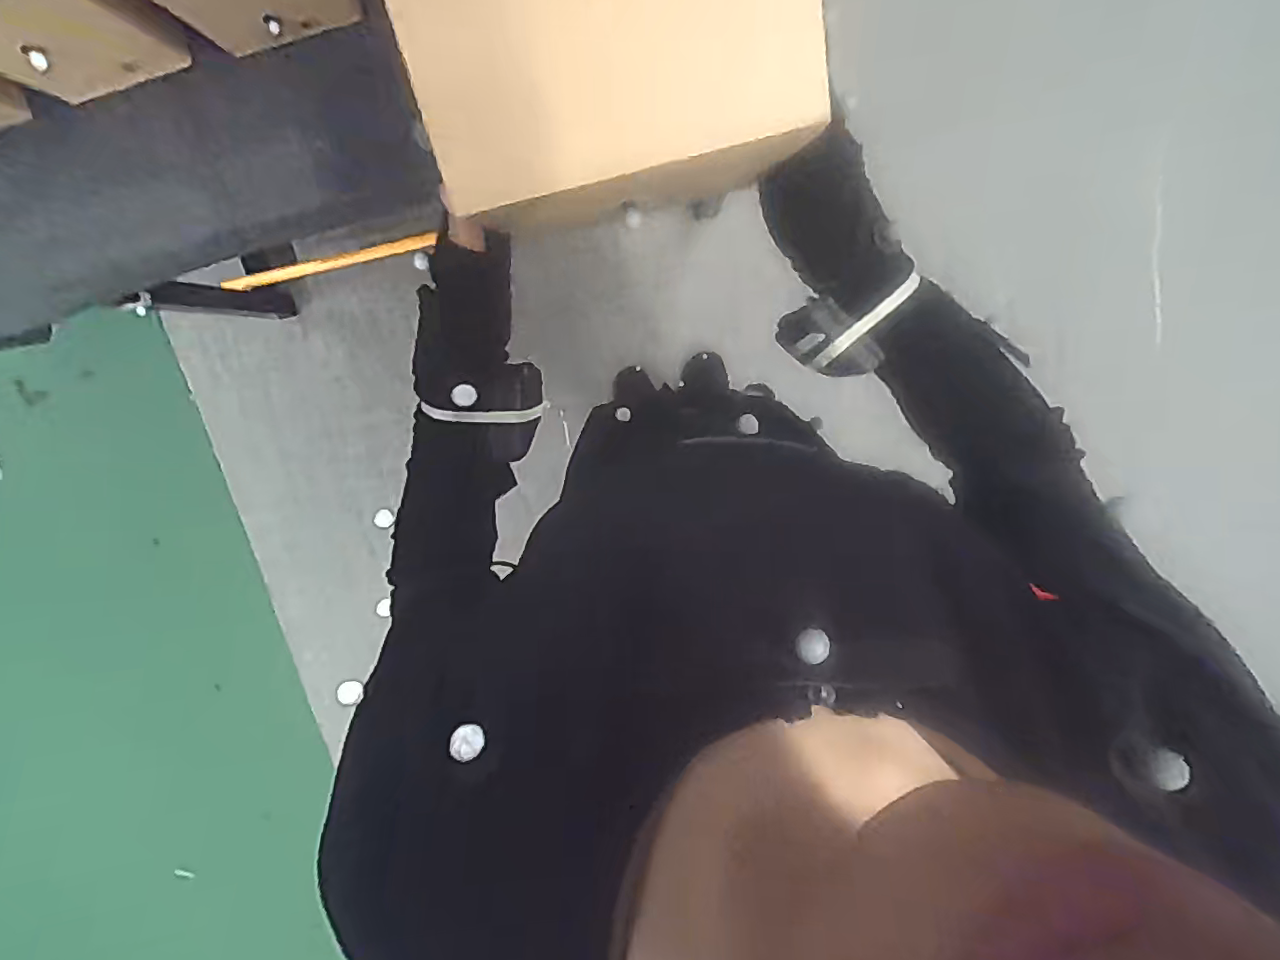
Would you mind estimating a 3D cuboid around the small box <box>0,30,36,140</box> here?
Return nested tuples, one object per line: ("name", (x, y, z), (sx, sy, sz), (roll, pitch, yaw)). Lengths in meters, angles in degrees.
("small box", (-0.845, -0.487, 0.584), (0.168, 0.176, 0.179), (-14, 102, 6))

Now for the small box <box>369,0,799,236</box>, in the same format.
("small box", (-0.027, -0.236, 0.281), (0.168, 0.176, 0.179), (-12, 109, 4))
